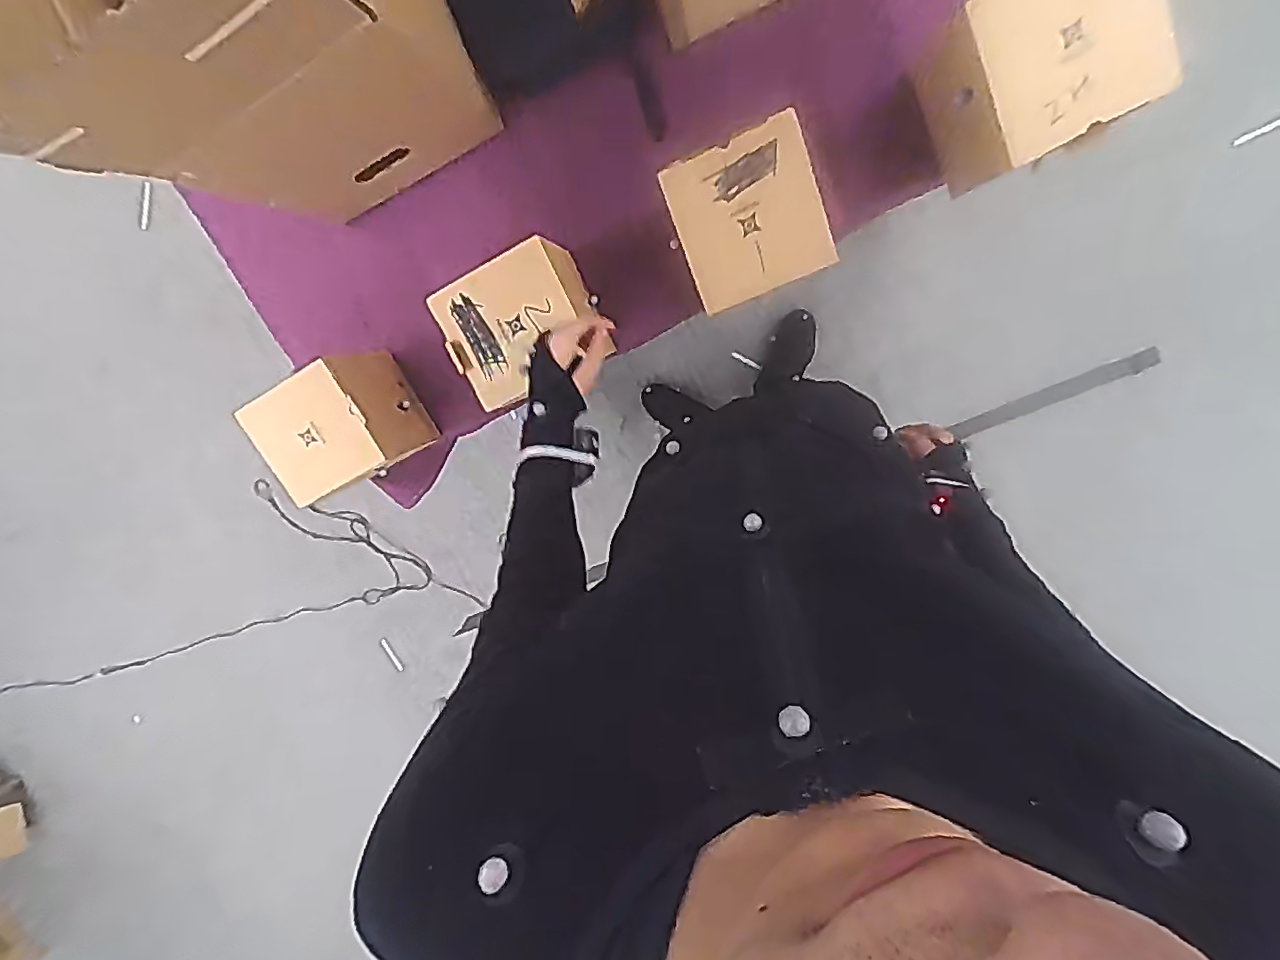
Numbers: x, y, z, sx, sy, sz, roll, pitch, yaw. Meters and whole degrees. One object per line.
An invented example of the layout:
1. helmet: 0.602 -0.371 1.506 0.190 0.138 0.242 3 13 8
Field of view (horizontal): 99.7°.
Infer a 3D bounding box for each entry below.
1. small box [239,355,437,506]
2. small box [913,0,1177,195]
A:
1. small box: -0.464 -0.085 0.858 0.179 0.176 0.168 -26 101 12
2. small box: 0.446 -0.467 0.626 0.168 0.176 0.179 -24 103 14
